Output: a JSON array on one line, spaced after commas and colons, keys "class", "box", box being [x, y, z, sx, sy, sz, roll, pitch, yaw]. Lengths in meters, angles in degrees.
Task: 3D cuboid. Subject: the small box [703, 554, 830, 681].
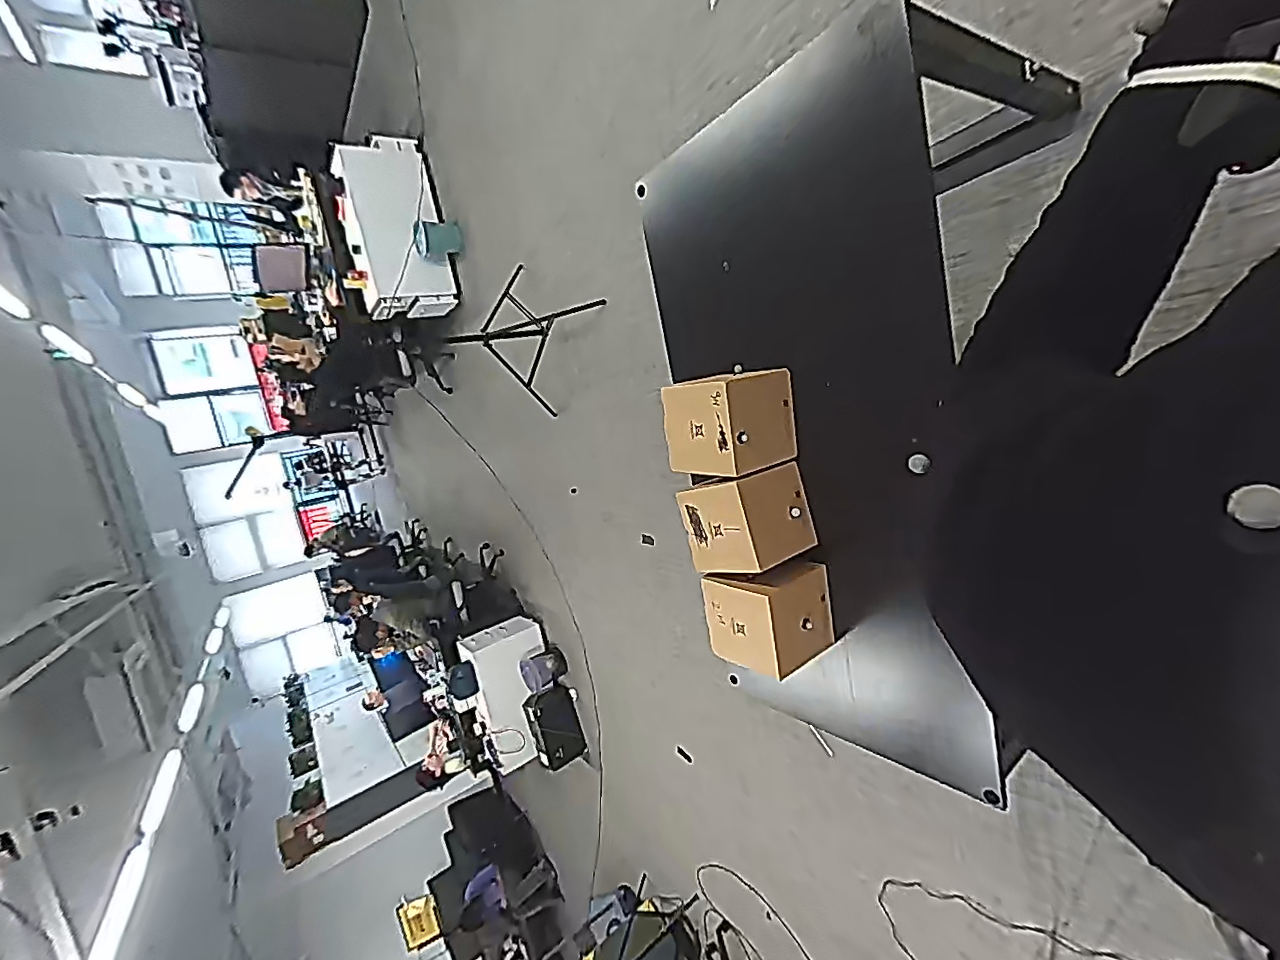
[{"class": "small box", "box": [0.250, 0.253, 1.046, 0.179, 0.176, 0.168, 4, 106, 55]}]
